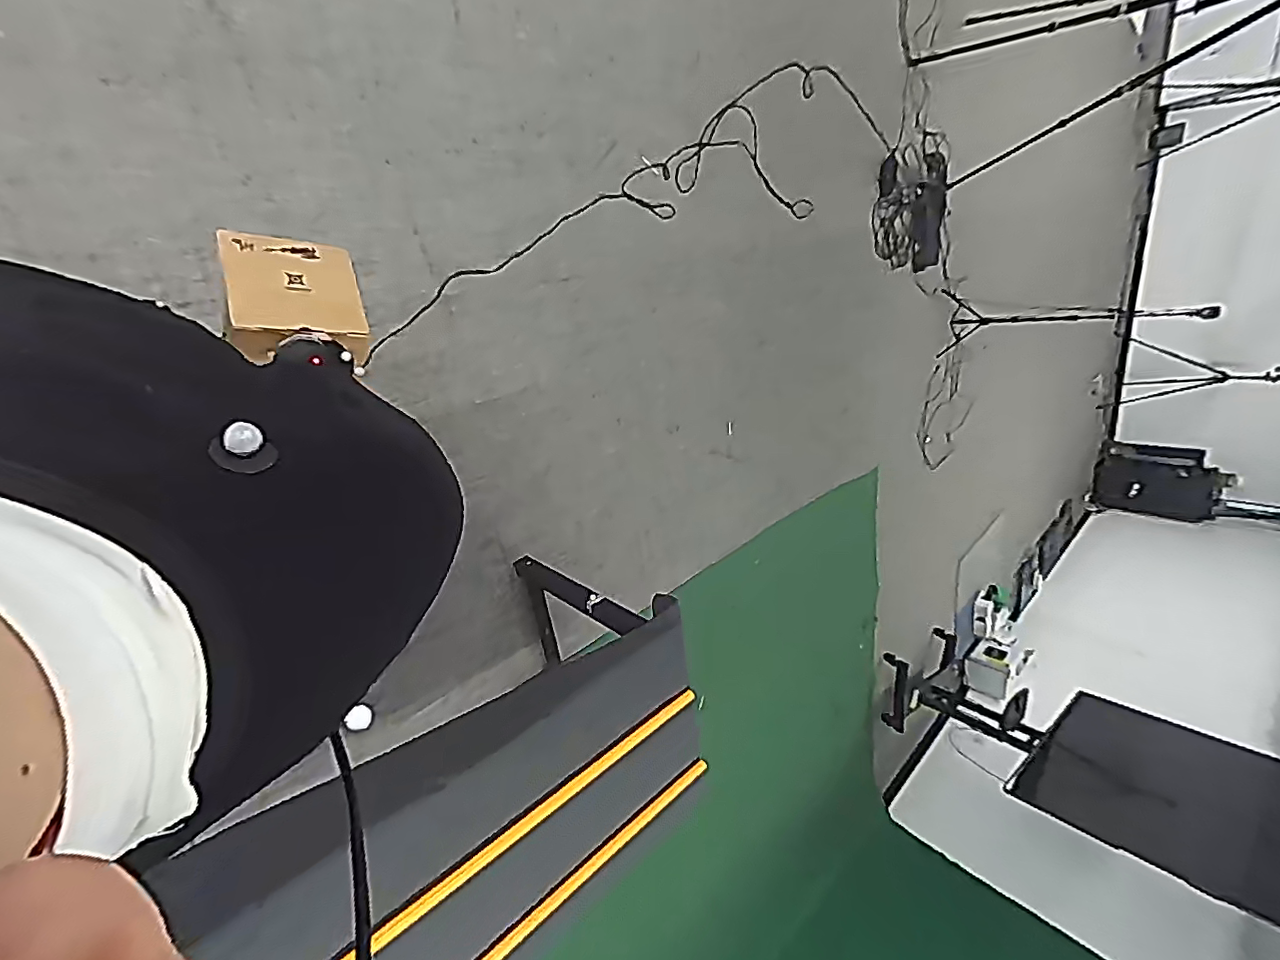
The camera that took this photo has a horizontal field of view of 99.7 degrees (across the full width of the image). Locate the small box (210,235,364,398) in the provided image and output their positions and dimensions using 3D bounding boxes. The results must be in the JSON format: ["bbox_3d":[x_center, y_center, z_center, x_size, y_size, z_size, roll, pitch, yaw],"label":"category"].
[{"bbox_3d":[-0.539,-0.237,0.829,0.168,0.176,0.179,-10,67,-39],"label":"small box"}]
